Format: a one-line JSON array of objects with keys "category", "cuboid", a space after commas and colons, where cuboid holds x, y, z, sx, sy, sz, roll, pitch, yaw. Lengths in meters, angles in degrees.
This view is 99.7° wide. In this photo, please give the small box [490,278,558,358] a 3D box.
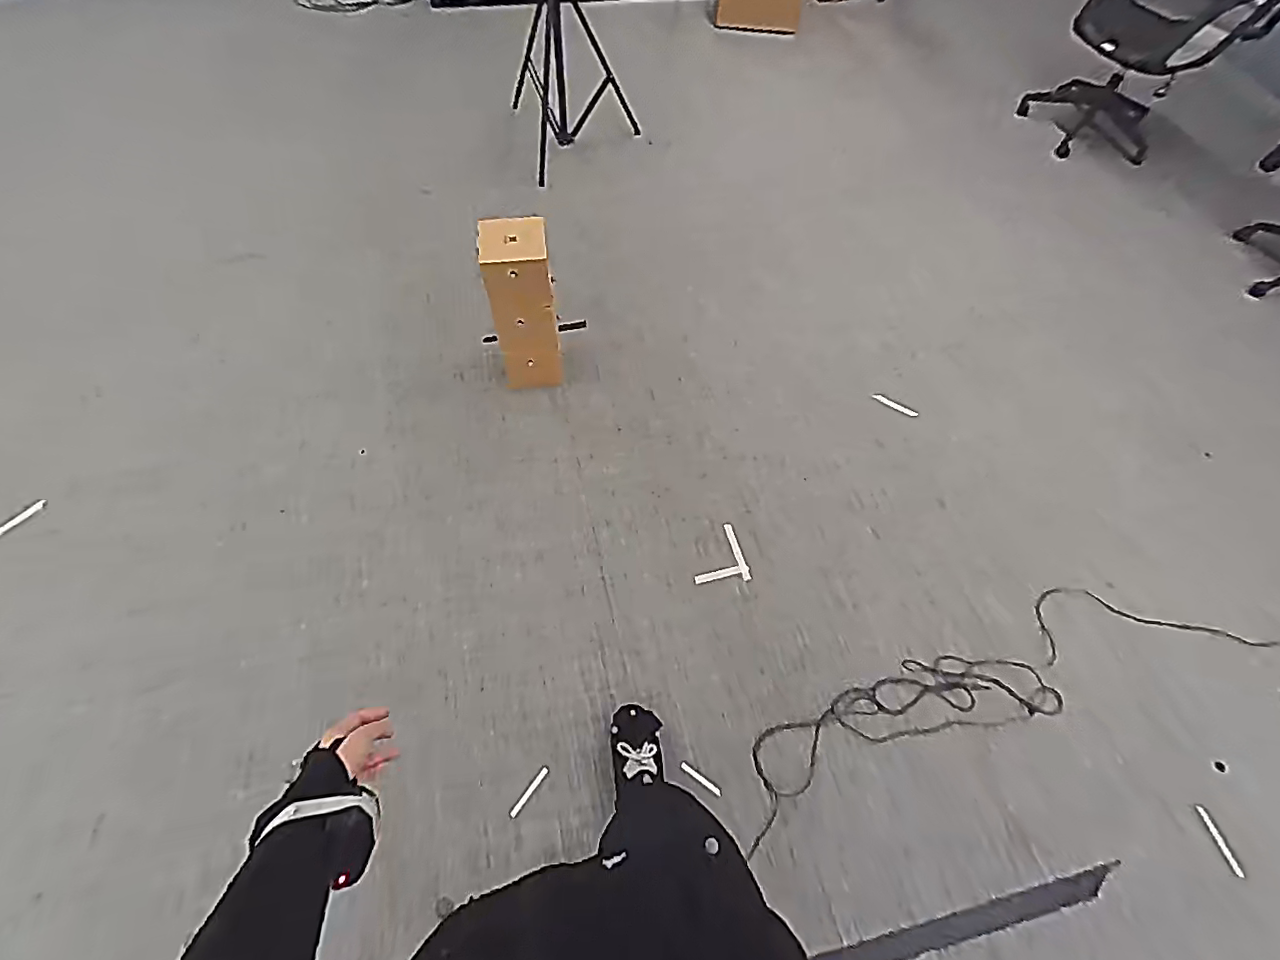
[{"category": "small box", "cuboid": [-0.342, -0.482, 1.619, 0.179, 0.176, 0.168, -4, 63, -5]}]

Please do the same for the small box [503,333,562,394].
[{"category": "small box", "cuboid": [-0.347, -0.397, 1.760, 0.179, 0.176, 0.168, -6, 62, -6]}]

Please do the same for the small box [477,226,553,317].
[{"category": "small box", "cuboid": [-0.338, -0.565, 1.480, 0.179, 0.176, 0.168, -6, 63, -6]}]
